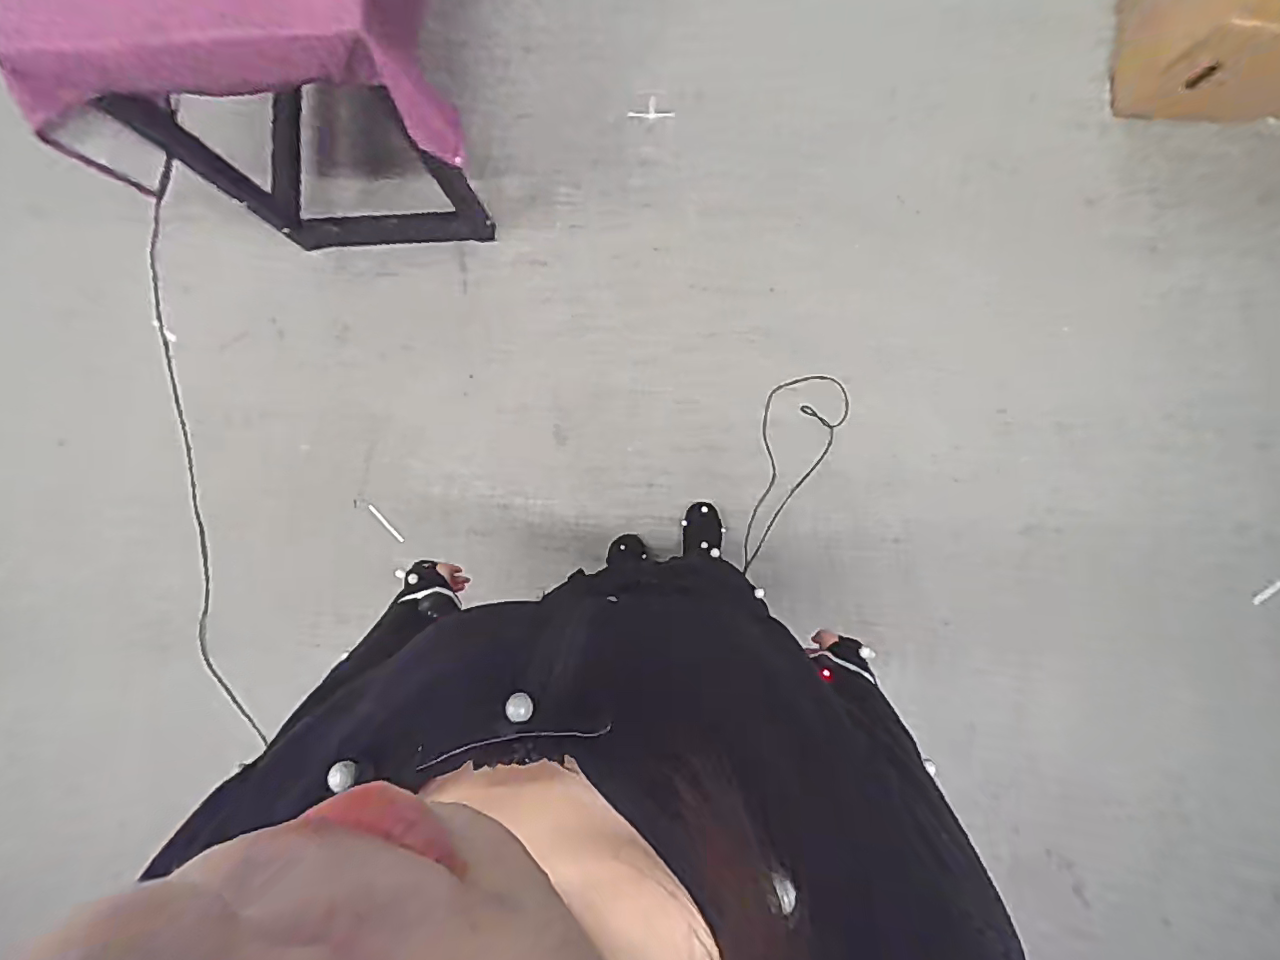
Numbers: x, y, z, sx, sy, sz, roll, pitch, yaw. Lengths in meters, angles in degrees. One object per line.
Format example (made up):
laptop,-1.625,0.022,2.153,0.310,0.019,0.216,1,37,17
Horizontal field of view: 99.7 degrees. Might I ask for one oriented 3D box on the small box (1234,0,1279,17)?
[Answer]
small box,1.400,-1.102,1.112,0.179,0.176,0.168,9,90,1
